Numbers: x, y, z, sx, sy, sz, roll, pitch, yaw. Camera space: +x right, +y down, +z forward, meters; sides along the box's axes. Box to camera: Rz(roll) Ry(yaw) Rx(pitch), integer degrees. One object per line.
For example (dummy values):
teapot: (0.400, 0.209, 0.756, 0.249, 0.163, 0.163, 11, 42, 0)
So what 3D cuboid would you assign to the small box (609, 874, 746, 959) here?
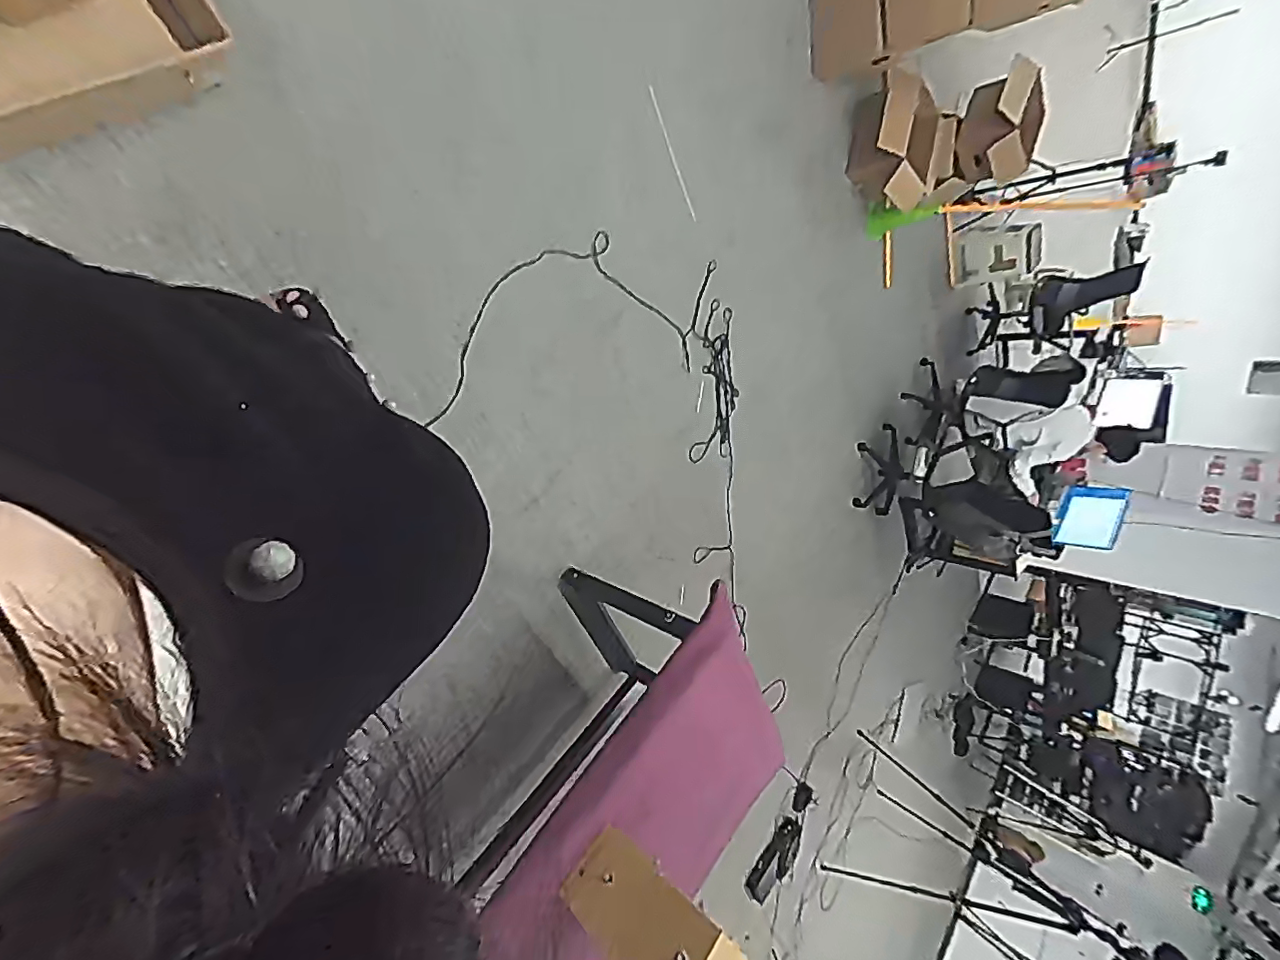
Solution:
small box: (0.071, 0.913, 1.036, 0.179, 0.176, 0.168, -44, 125, -28)

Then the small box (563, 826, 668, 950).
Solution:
small box: (-0.034, 0.889, 1.158, 0.168, 0.176, 0.179, -44, 126, -28)

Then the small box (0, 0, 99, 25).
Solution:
small box: (-0.983, -0.871, 0.850, 0.179, 0.176, 0.168, -52, 130, -22)
